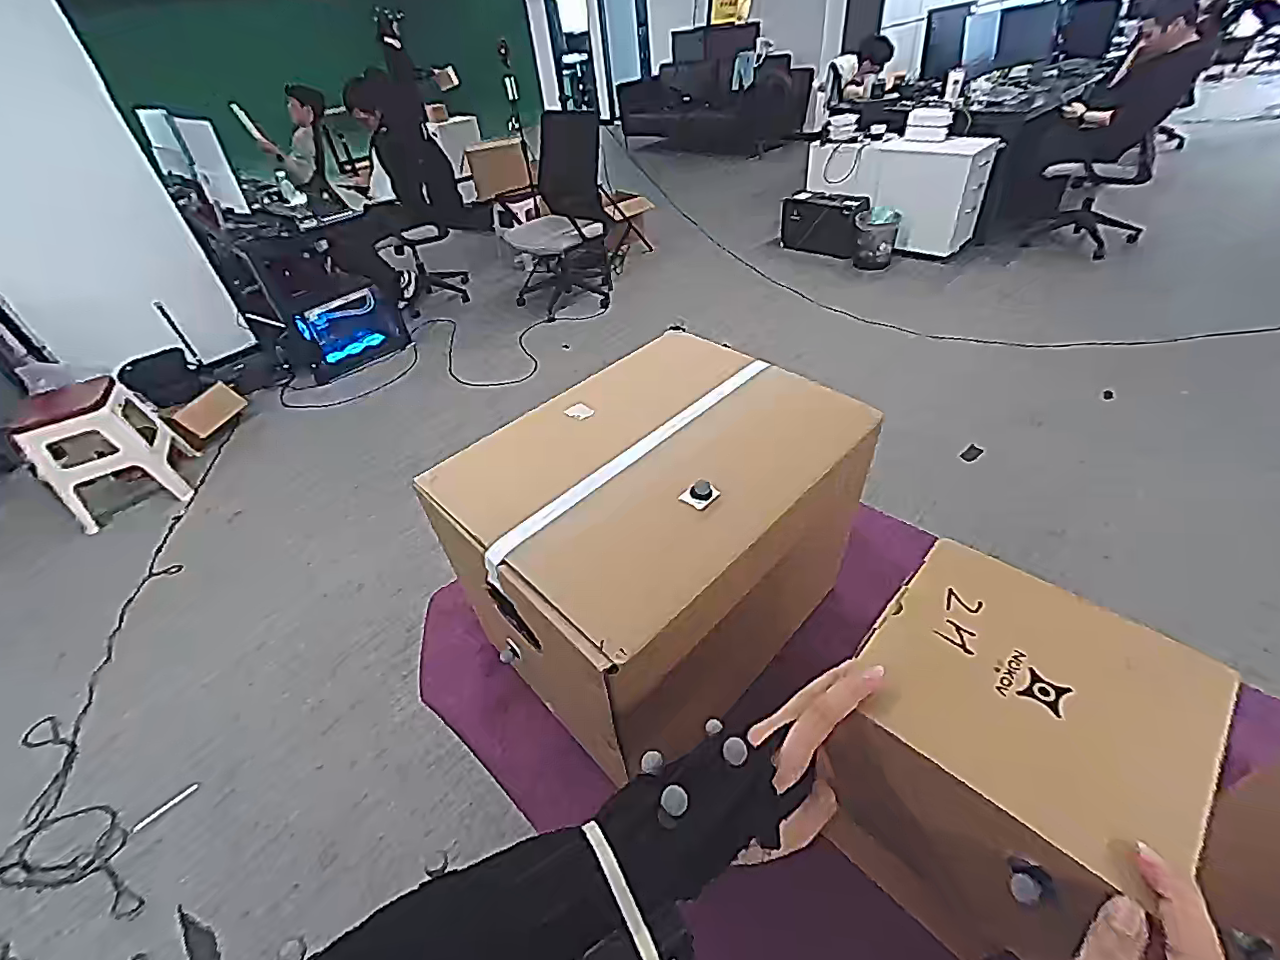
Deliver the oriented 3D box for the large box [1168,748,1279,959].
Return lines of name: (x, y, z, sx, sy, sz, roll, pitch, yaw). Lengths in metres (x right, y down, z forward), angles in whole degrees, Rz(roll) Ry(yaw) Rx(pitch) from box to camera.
large box: (0.521, 0.370, 0.263, 0.320, 0.320, 0.408, 30, 52, 34)
